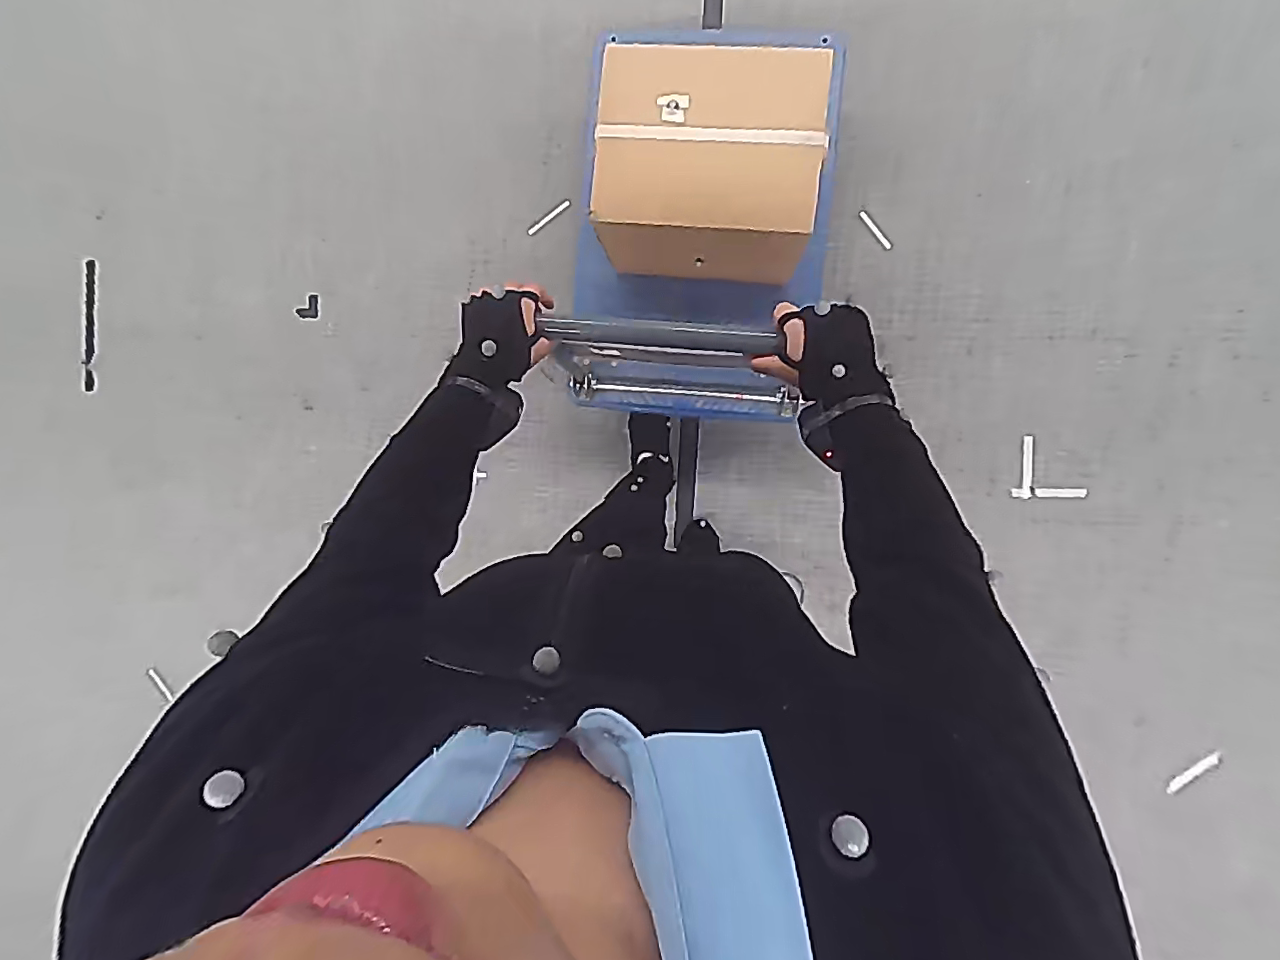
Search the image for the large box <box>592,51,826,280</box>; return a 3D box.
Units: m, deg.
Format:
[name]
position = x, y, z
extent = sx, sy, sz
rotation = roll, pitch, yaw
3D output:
[large box]
position = 0.139, -0.621, 1.123
extent = 0.408, 0.320, 0.320
rotation = 6, 93, 7
